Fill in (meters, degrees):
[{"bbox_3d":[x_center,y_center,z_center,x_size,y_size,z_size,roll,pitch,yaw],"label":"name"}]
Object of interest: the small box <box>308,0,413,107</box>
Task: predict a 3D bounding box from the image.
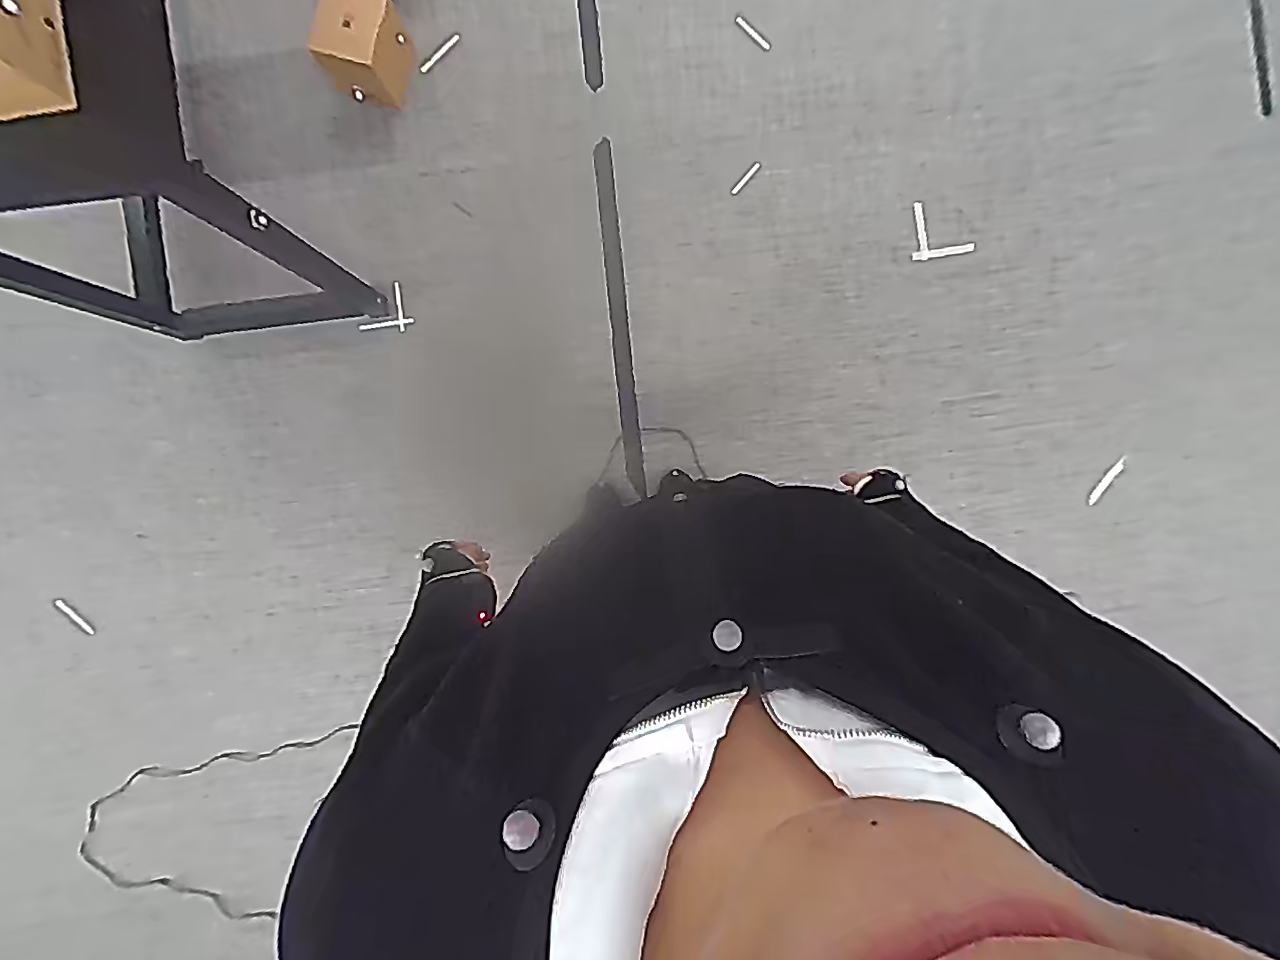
[{"bbox_3d":[-0.712,-1.122,1.399,0.168,0.176,0.179,14,92,0],"label":"small box"}]
